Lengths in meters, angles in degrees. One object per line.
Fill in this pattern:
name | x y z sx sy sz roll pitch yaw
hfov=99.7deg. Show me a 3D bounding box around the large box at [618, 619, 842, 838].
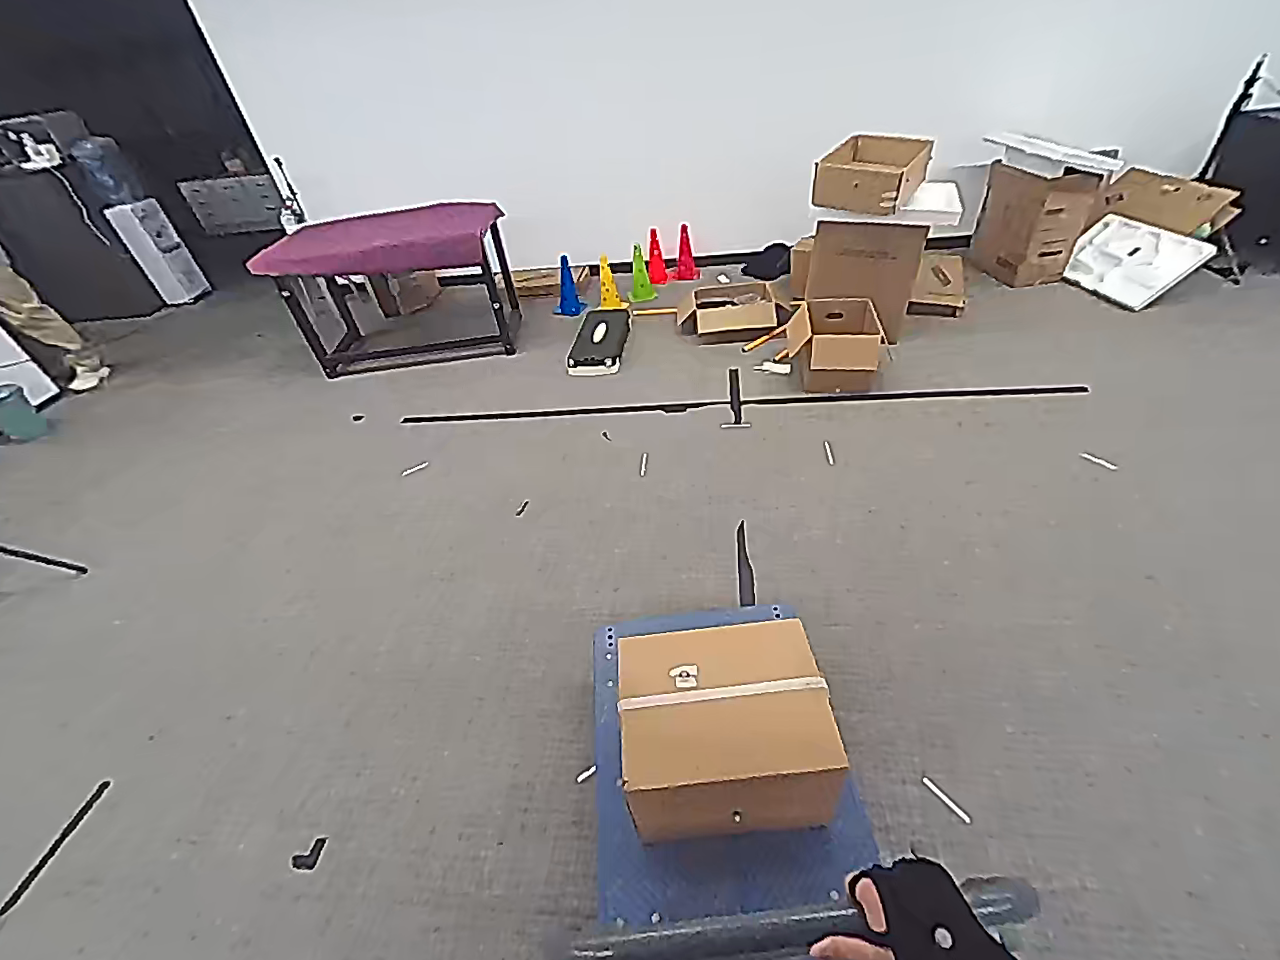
large box | 0.179 0.547 1.188 0.408 0.320 0.320 -8 40 2
